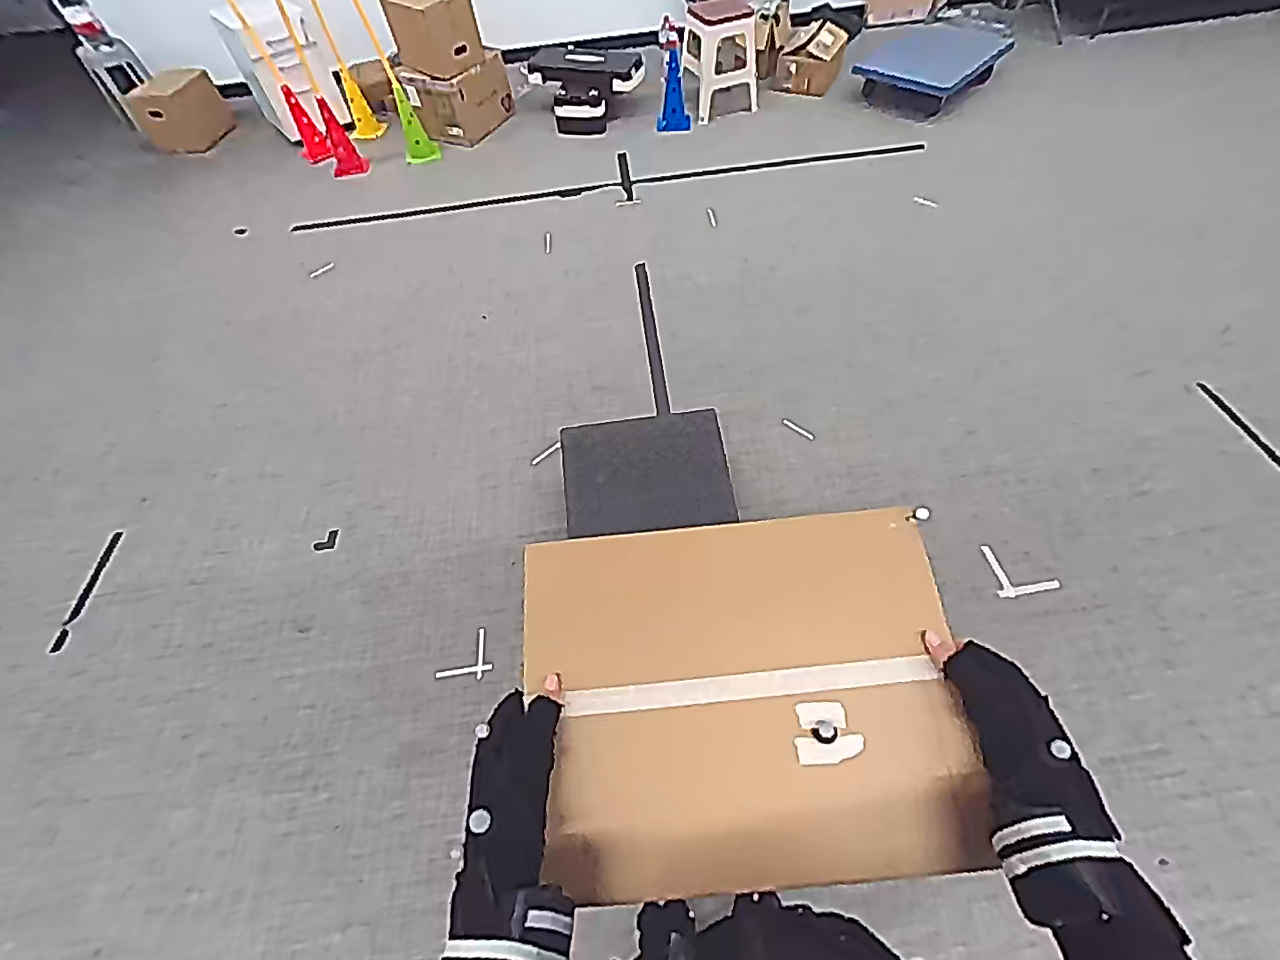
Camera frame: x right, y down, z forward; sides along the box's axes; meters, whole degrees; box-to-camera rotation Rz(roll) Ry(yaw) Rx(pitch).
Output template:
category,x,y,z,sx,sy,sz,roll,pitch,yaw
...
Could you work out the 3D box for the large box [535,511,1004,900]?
category,x,y,z,sx,sy,sz,roll,pitch,yaw
large box,0.106,0.256,0.654,0.408,0.320,0.320,-6,66,1
